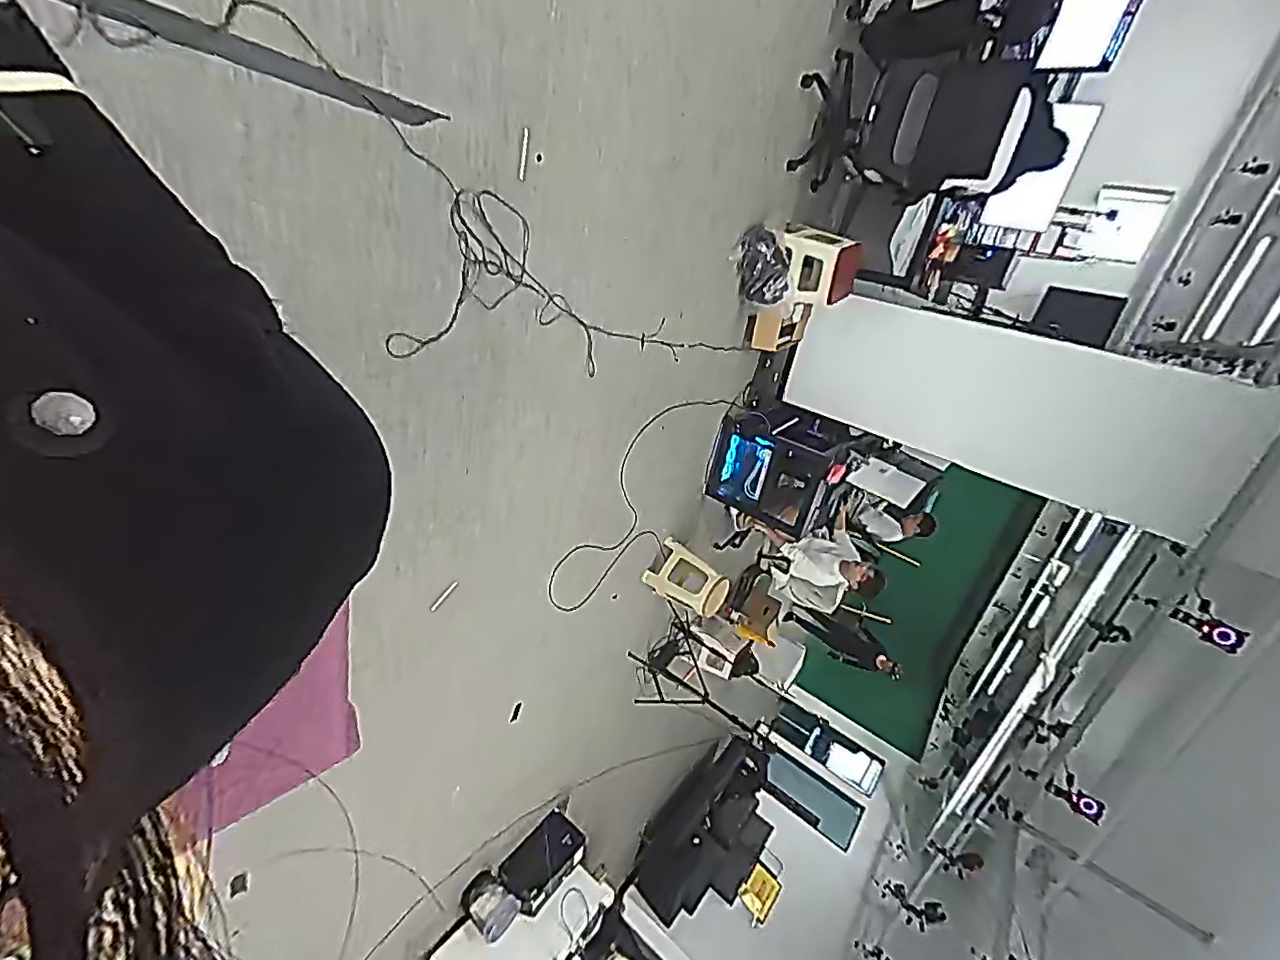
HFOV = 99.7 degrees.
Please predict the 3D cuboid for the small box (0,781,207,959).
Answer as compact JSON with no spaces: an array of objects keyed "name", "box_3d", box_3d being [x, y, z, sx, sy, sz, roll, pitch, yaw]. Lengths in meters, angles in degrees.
[{"name":"small box","box_3d":[-0.706,0.538,0.712,0.168,0.176,0.179,-16,124,-52]}]
